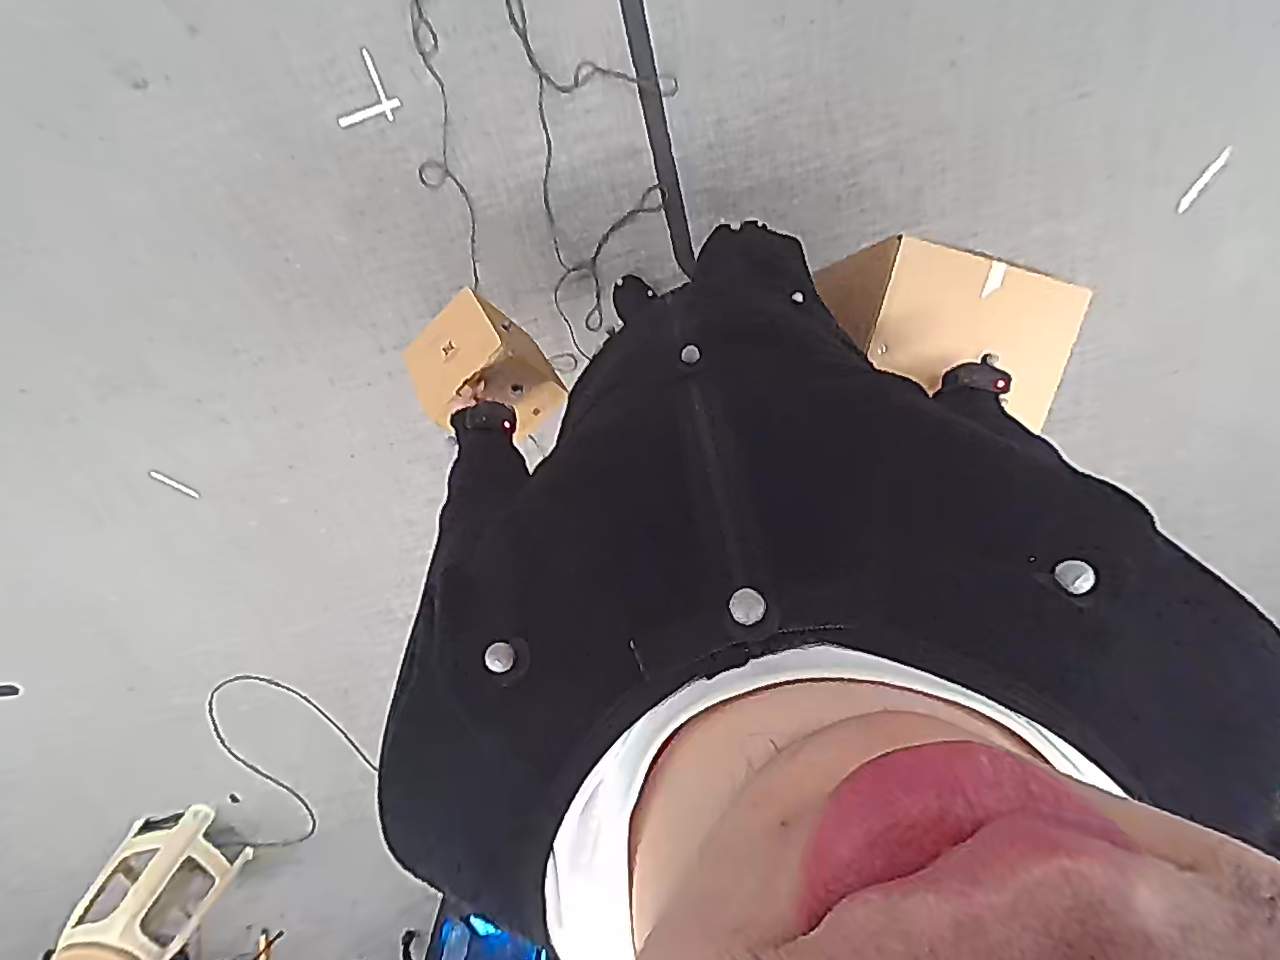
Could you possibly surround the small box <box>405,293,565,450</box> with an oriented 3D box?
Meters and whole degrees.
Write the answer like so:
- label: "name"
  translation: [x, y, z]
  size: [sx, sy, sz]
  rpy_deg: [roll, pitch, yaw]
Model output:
- label: "small box"
  translation: [-0.257, -0.170, 0.916]
  size: [0.168, 0.179, 0.176]
  rpy_deg: [-41, 147, 10]
